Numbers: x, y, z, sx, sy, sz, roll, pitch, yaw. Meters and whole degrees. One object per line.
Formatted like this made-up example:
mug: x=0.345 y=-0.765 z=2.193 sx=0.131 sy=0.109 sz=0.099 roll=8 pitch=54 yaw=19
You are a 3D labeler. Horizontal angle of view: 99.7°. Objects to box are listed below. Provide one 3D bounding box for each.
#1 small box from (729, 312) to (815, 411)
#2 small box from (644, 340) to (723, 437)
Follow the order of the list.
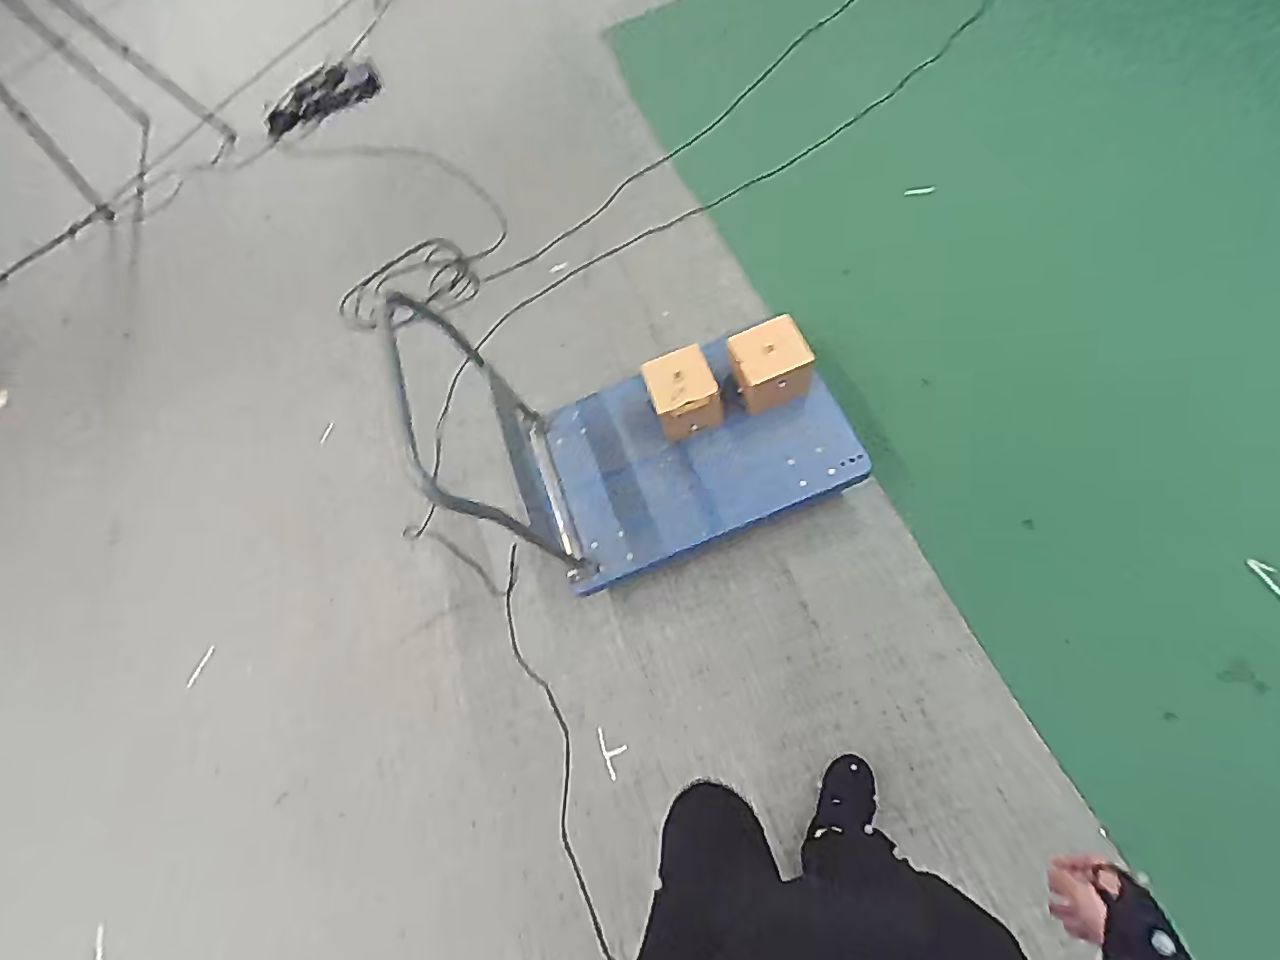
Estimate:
small box: x=0.360 y=-0.316 z=1.478 sx=0.179 sy=0.176 sz=0.168 roll=-21 pitch=65 yaw=3
small box: x=0.124 y=-0.249 z=1.502 sx=0.168 sy=0.176 sz=0.179 roll=-20 pitch=65 yaw=5
